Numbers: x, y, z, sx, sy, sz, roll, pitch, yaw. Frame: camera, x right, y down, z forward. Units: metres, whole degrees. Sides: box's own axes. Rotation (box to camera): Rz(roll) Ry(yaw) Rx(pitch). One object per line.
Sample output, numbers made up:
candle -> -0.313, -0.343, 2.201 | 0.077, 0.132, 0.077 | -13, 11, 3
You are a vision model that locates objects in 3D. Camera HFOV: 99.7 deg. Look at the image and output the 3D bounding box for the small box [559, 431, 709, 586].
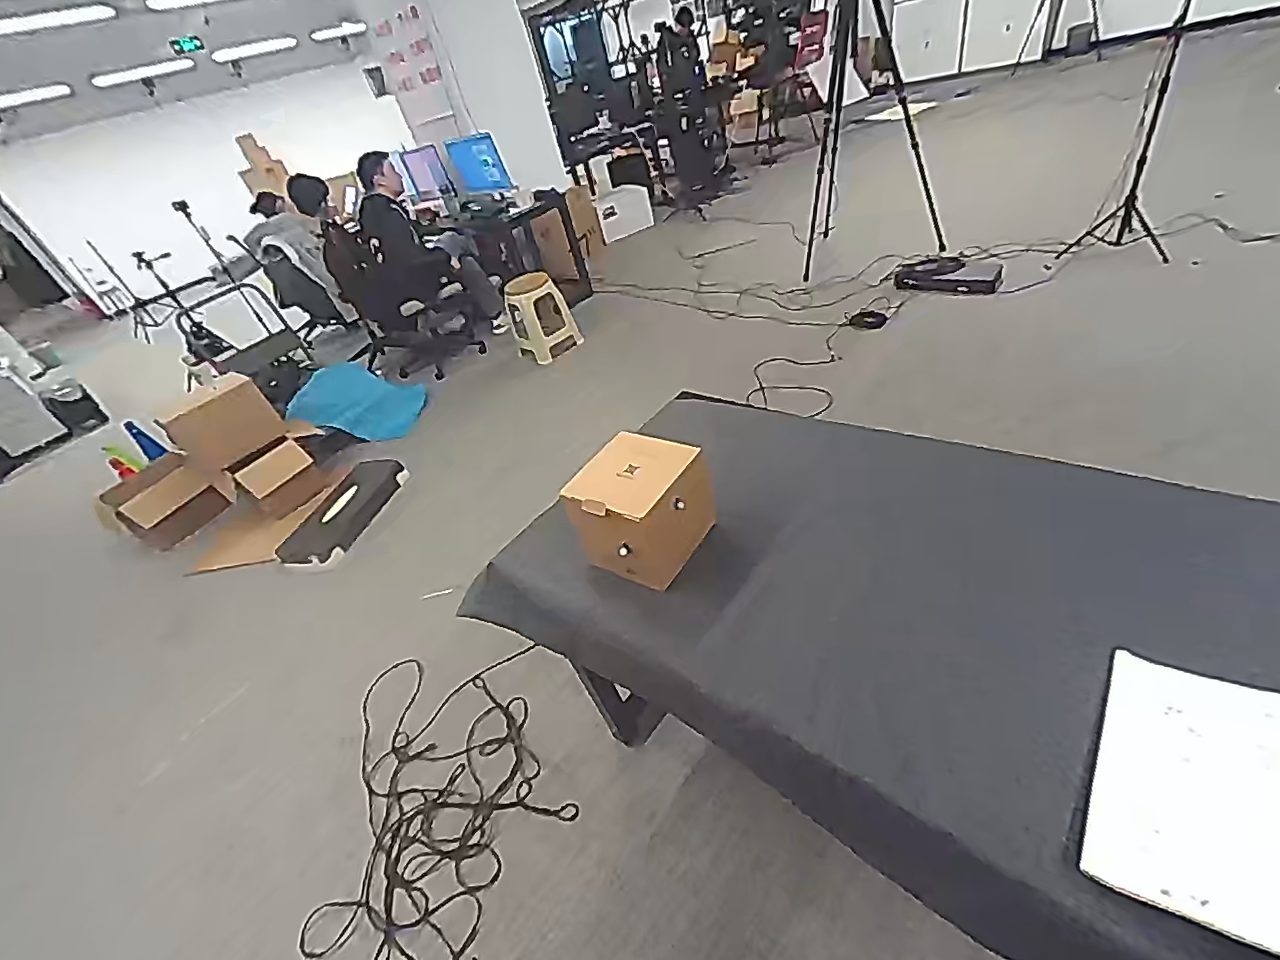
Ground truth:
small box -> 0.001, 0.045, 0.898 | 0.168, 0.176, 0.179 | 16, 47, 34
